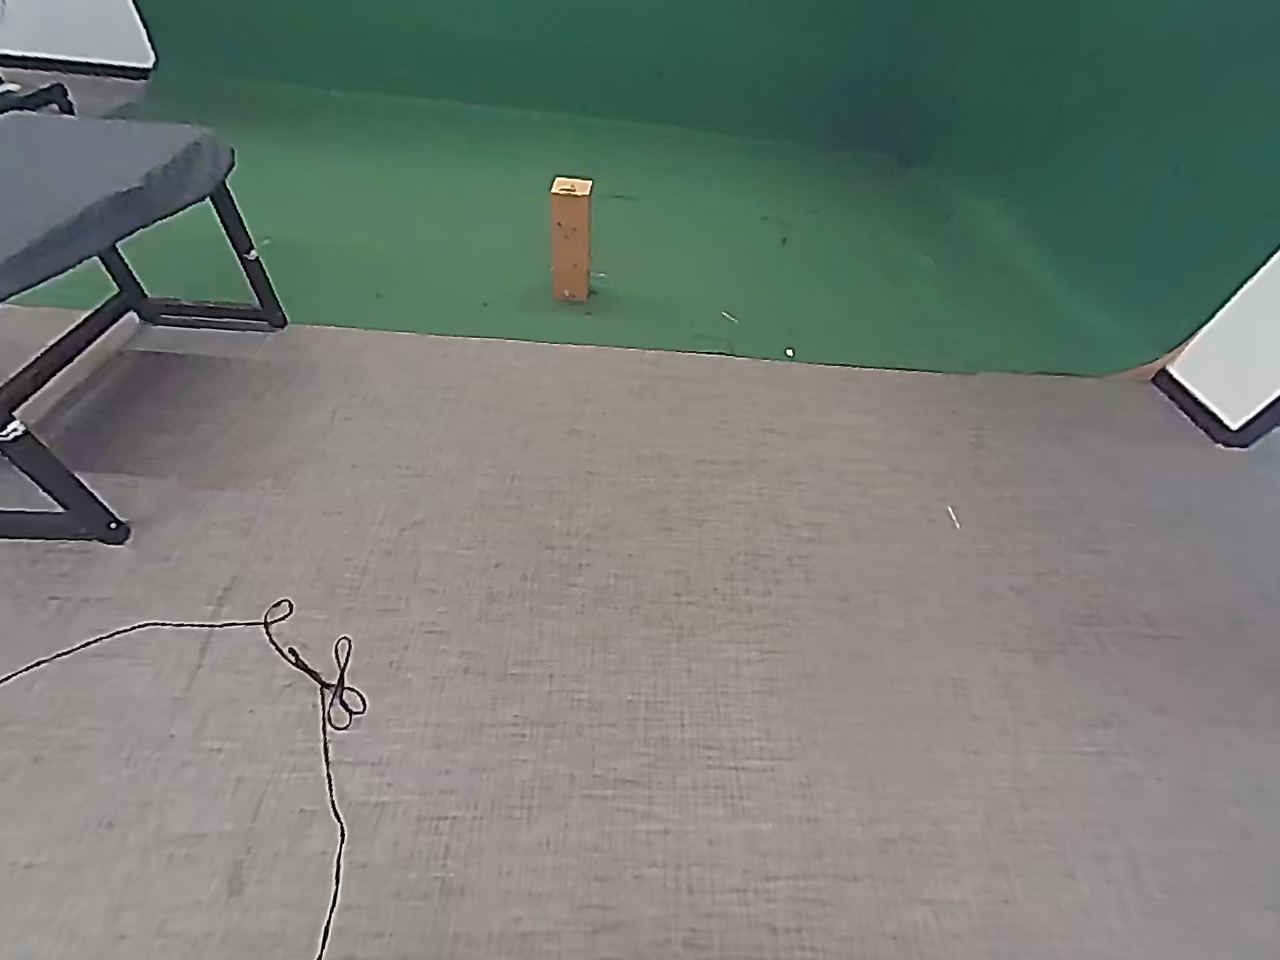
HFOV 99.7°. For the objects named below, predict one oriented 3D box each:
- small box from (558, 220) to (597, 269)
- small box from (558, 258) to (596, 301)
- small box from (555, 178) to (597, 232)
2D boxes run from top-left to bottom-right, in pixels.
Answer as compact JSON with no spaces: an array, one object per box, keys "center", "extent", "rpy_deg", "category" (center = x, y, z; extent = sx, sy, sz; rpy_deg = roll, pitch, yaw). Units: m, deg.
[{"center":[-0.295,-1.126,2.562],"extent":[0.168,0.176,0.179],"rpy_deg":[5,47,-1],"category":"small box"},{"center":[-0.312,-1.014,2.681],"extent":[0.168,0.176,0.179],"rpy_deg":[4,49,-2],"category":"small box"},{"center":[-0.285,-1.240,2.444],"extent":[0.168,0.176,0.179],"rpy_deg":[5,47,-2],"category":"small box"}]
